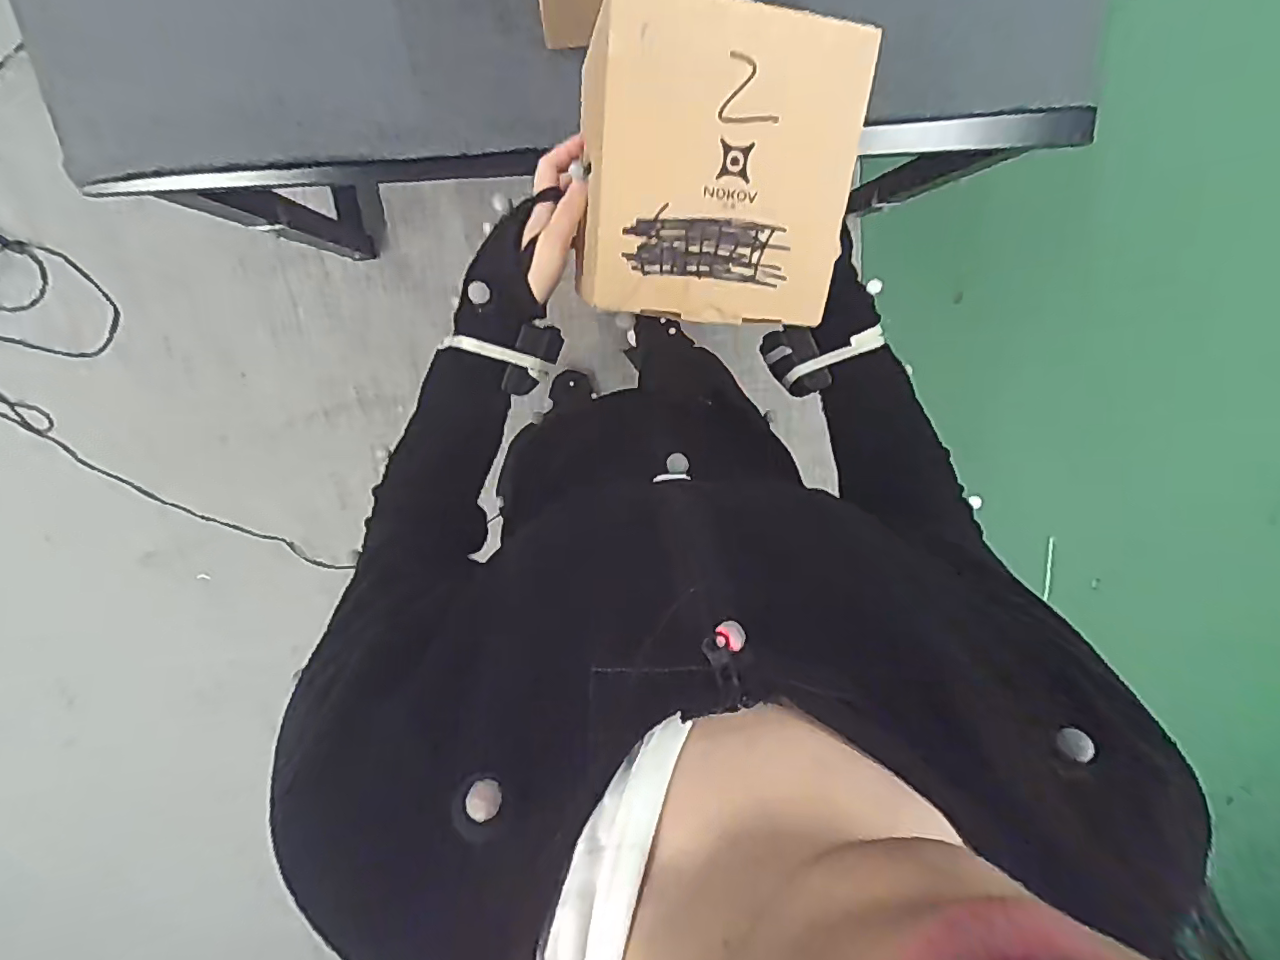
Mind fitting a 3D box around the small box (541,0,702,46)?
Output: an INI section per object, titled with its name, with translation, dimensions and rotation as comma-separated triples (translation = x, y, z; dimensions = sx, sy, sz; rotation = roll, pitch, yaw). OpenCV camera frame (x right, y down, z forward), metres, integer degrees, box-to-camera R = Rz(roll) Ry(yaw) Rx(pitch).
[small box]
translation = -0.023, -0.550, 0.497
dimensions = 0.168, 0.176, 0.179
rotation = -10, 105, -4
